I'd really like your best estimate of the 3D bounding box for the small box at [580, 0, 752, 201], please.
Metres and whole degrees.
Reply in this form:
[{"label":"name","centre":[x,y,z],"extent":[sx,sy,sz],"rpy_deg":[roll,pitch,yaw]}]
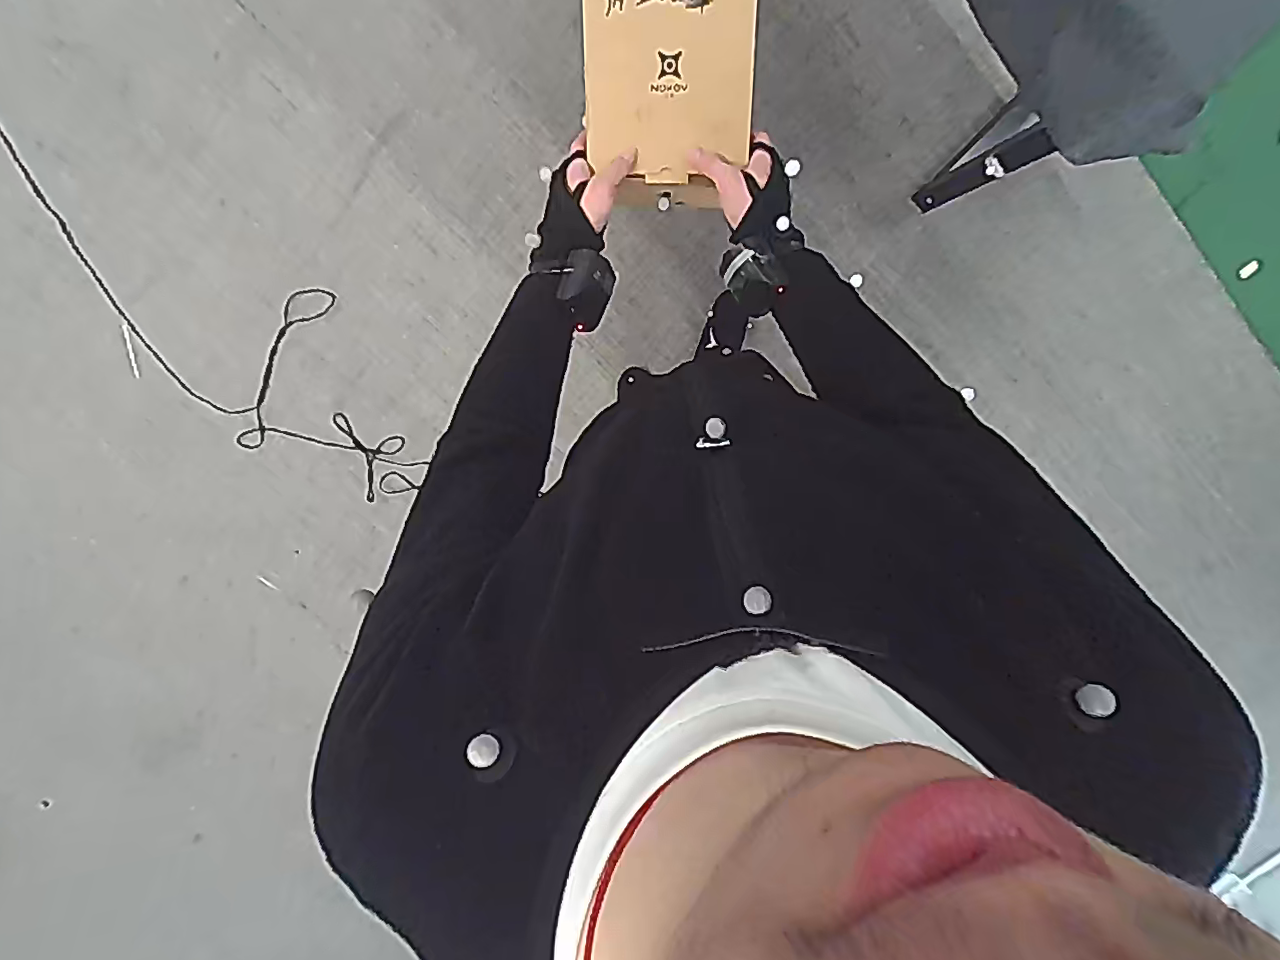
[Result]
[{"label":"small box","centre":[0.030,-0.421,0.606],"extent":[0.168,0.176,0.179],"rpy_deg":[-2,107,2]}]
